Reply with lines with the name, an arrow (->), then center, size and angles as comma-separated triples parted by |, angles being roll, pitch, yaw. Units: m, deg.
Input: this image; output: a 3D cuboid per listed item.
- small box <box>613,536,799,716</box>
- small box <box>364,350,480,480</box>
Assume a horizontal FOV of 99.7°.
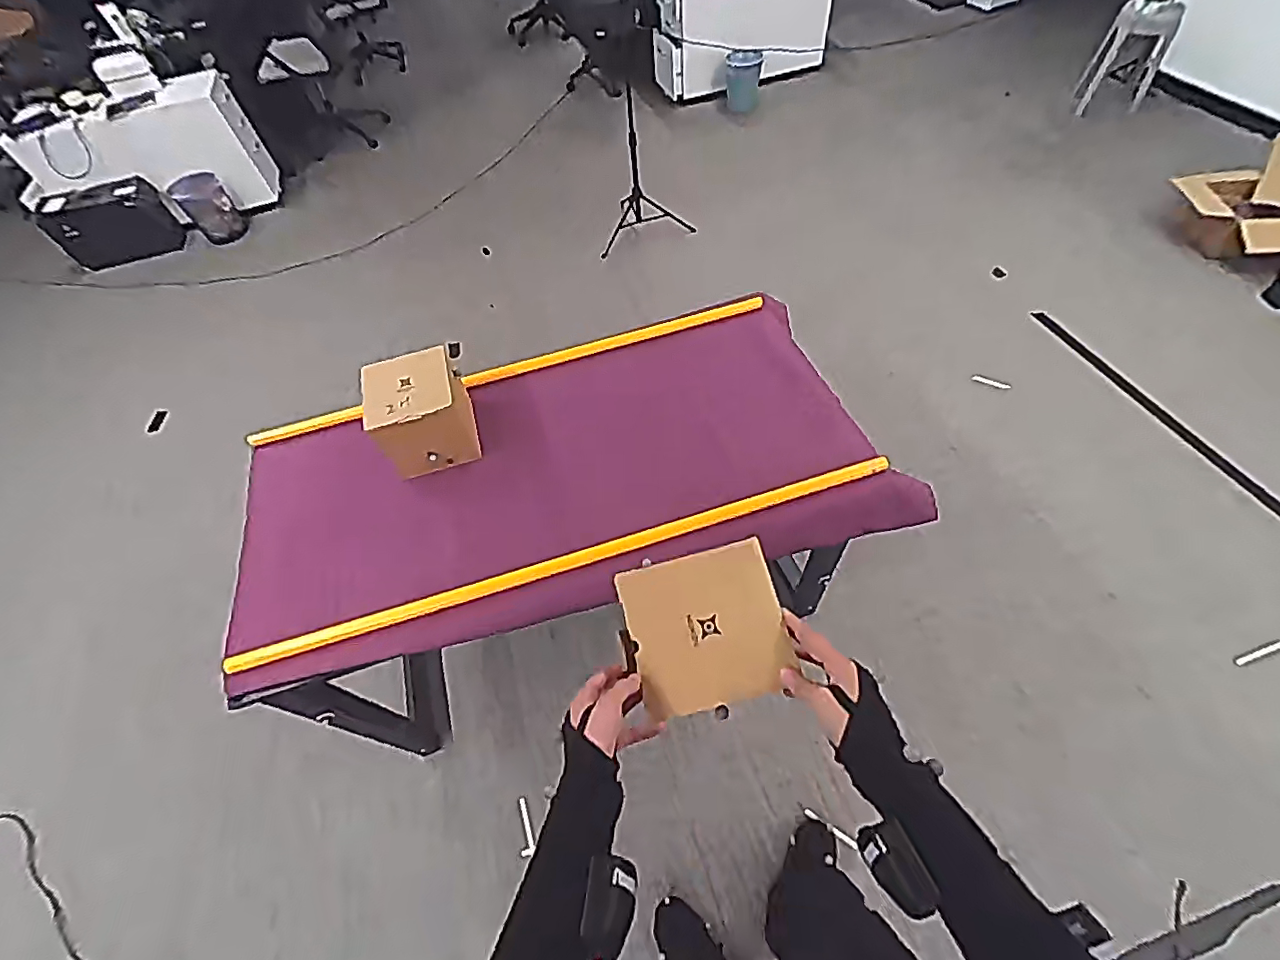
small box -> 0.079, 0.182, 0.681 | 0.179, 0.176, 0.168 | -16, 71, 4
small box -> -0.439, -0.129, 1.098 | 0.168, 0.176, 0.179 | -17, 58, -6
